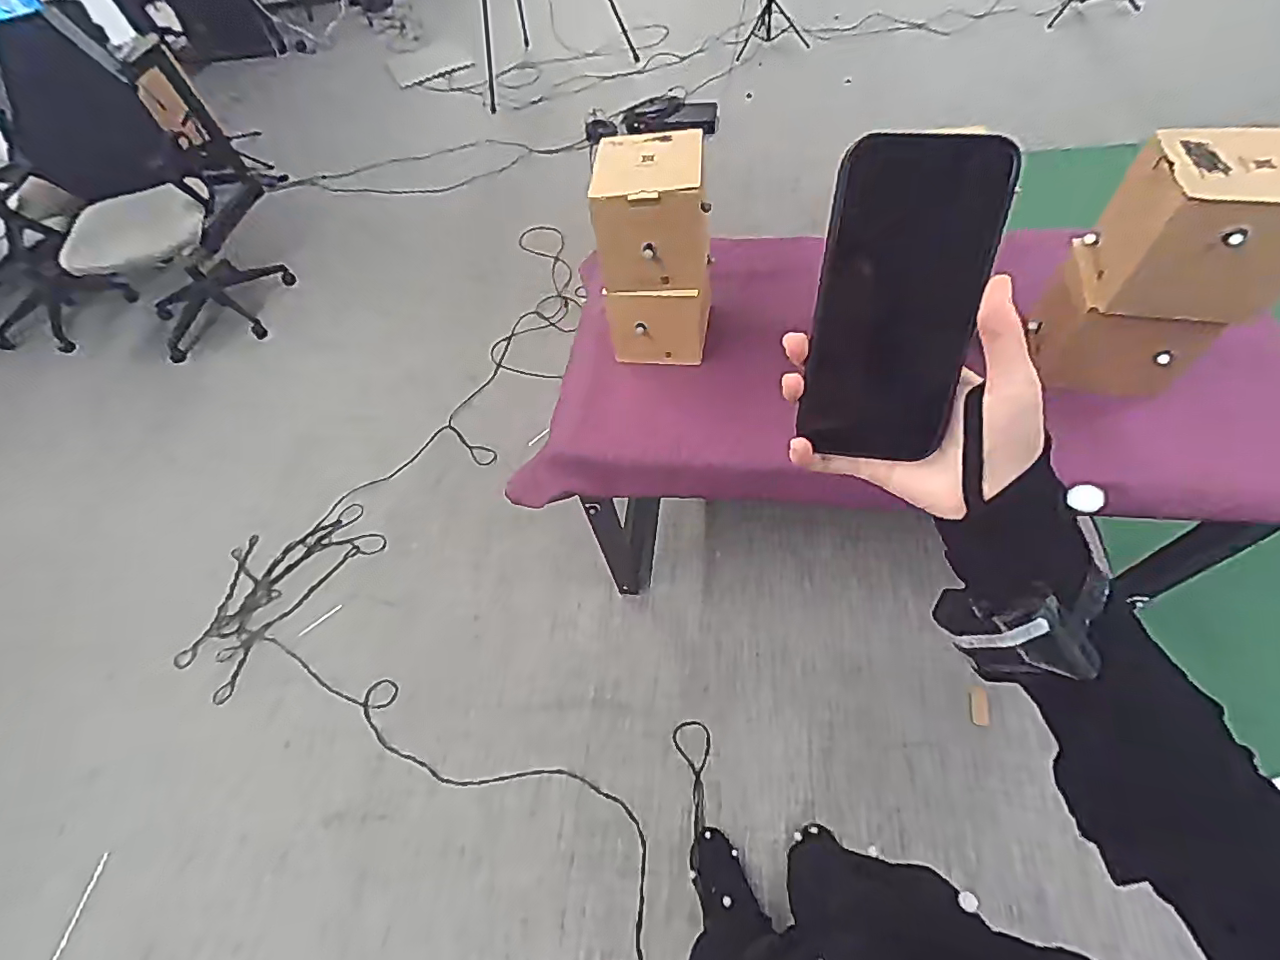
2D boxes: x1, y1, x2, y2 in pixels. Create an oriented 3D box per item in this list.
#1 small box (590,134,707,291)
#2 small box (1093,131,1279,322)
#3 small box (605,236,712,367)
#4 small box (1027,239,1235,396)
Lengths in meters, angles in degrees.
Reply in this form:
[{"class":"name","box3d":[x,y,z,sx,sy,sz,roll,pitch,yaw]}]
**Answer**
[{"class":"small box","box3d":[0.024,-0.427,0.883,0.168,0.176,0.179,0,58,8]},{"class":"small box","box3d":[0.738,-0.327,0.708,0.179,0.176,0.168,9,59,14]},{"class":"small box","box3d":[0.044,-0.331,1.015,0.168,0.176,0.179,5,58,12]},{"class":"small box","box3d":[0.753,-0.252,0.853,0.179,0.176,0.168,9,59,15]}]
